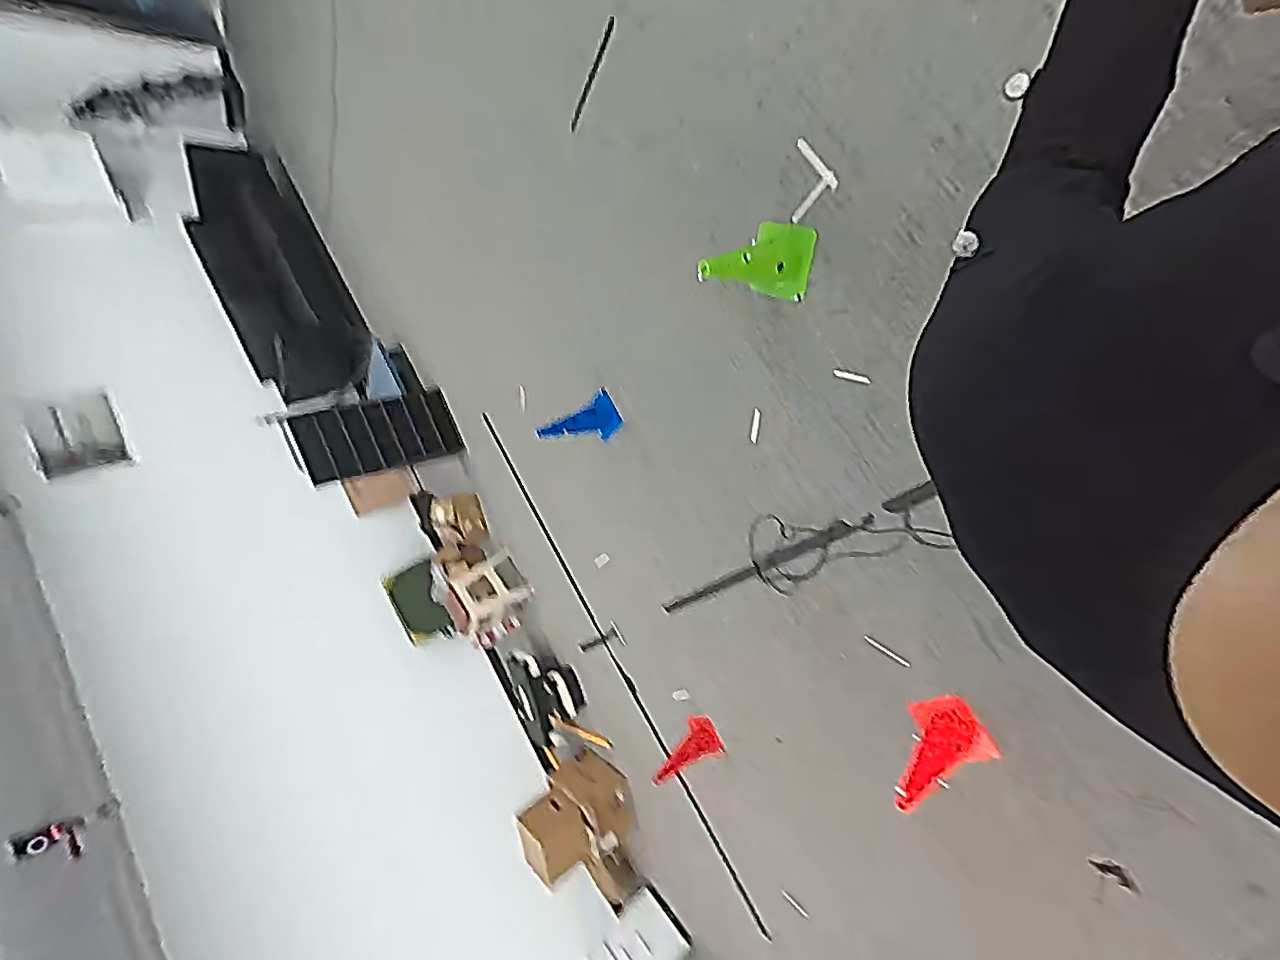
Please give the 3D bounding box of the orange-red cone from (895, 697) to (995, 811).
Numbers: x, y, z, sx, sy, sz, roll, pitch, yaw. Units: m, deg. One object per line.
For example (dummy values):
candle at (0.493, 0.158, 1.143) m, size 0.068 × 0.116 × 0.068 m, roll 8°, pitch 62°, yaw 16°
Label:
orange-red cone at (0.833, 0.821, 1.566) m, size 0.198 × 0.360 × 0.199 m, roll 58°, pitch 140°, yaw 12°

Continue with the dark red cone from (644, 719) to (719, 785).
dark red cone at (0.176, 1.320, 2.571) m, size 0.202 × 0.394 × 0.201 m, roll -33°, pitch 80°, yaw 52°

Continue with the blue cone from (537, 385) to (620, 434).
blue cone at (-0.290, -0.277, 2.423) m, size 0.193 × 0.380 × 0.192 m, roll -37°, pitch 77°, yaw 51°

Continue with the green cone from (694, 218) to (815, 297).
green cone at (0.294, -0.618, 1.515) m, size 0.202 × 0.368 × 0.200 m, roll 33°, pitch 130°, yaw 39°
